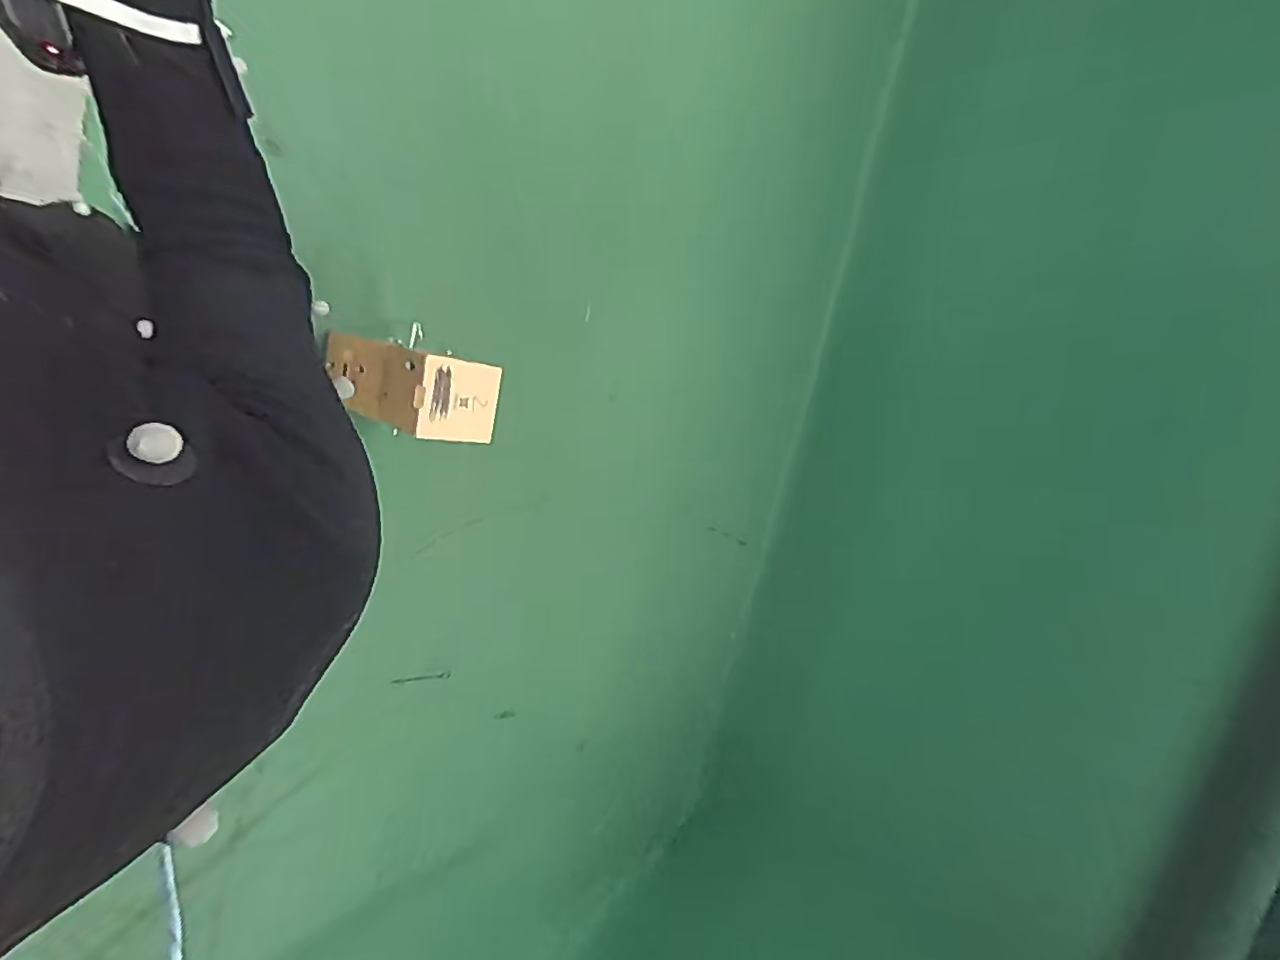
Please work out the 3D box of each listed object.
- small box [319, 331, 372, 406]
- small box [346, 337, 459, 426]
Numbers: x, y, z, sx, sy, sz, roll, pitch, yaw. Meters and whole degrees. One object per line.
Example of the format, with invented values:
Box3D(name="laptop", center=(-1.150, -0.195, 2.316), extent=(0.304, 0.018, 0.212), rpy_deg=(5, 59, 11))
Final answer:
Box3D(name="small box", center=(-0.672, -0.271, 1.356), extent=(0.179, 0.176, 0.168), rpy_deg=(3, 103, -50))
Box3D(name="small box", center=(-0.552, -0.230, 1.254), extent=(0.179, 0.176, 0.168), rpy_deg=(0, 106, -49))
